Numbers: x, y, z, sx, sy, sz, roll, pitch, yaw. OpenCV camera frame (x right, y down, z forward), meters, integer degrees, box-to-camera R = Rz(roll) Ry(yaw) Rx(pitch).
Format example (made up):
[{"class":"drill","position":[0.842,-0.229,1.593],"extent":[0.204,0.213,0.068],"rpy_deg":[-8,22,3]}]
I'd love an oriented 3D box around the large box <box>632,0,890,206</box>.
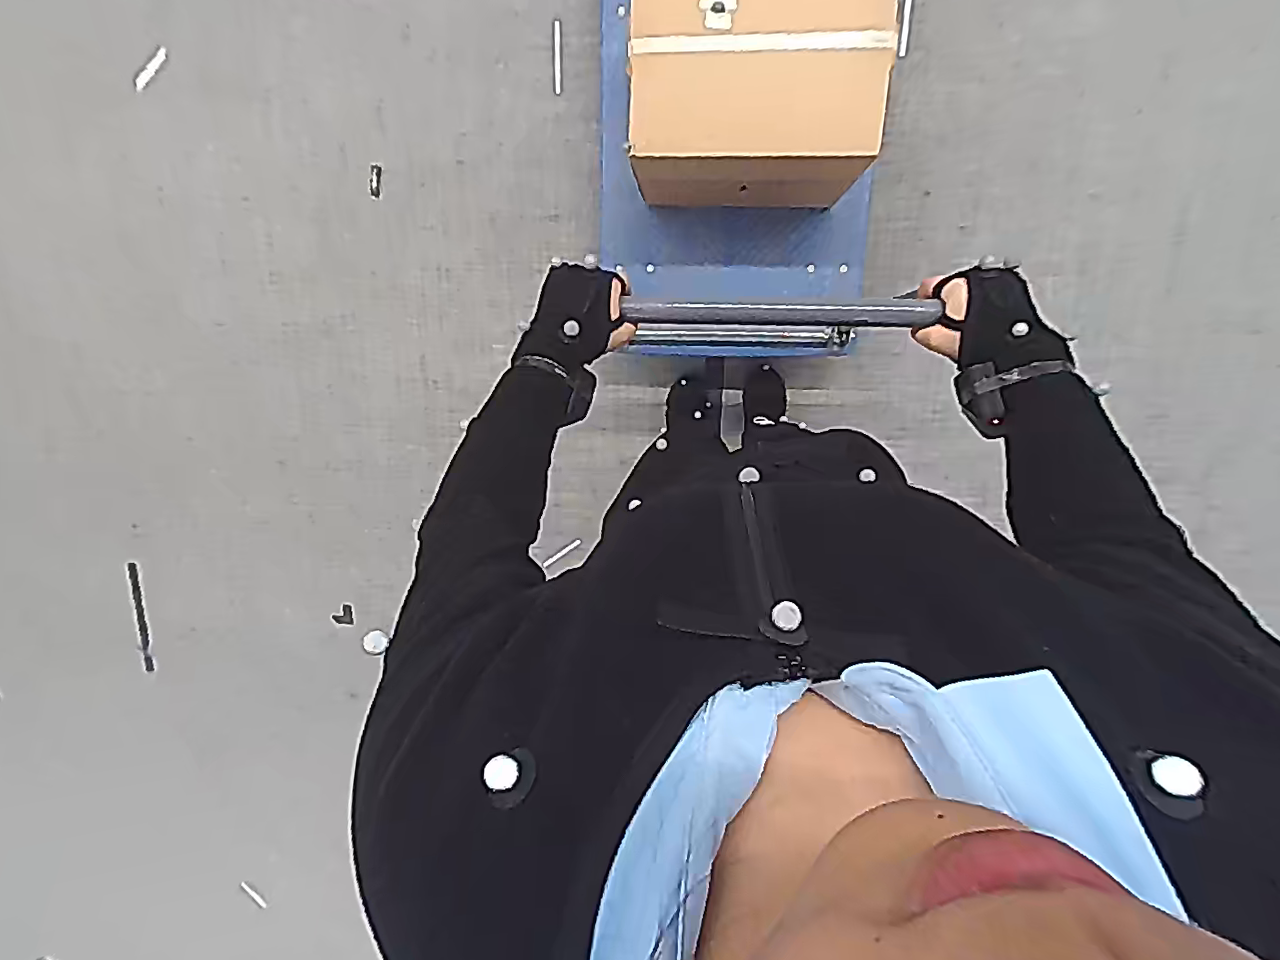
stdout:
[{"class":"large box","position":[0.205,-0.714,1.003],"extent":[0.408,0.320,0.320],"rpy_deg":[3,102,6]}]
